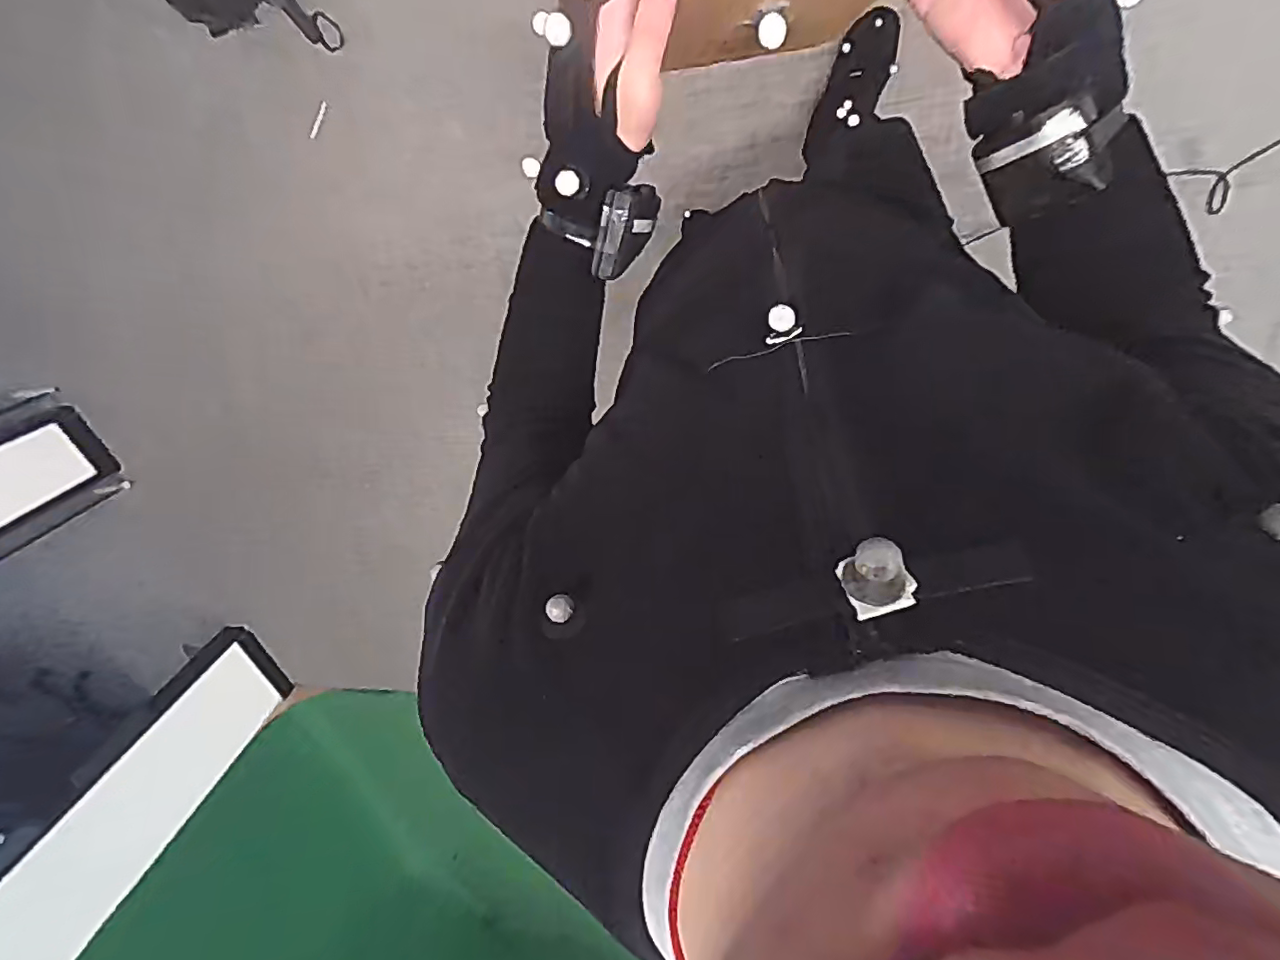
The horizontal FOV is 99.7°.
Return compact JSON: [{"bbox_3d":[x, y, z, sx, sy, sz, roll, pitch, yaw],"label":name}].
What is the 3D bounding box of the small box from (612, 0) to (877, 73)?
[{"bbox_3d":[0.069,-0.352,0.269,0.168,0.176,0.179,-22,105,-16],"label":"small box"}]
